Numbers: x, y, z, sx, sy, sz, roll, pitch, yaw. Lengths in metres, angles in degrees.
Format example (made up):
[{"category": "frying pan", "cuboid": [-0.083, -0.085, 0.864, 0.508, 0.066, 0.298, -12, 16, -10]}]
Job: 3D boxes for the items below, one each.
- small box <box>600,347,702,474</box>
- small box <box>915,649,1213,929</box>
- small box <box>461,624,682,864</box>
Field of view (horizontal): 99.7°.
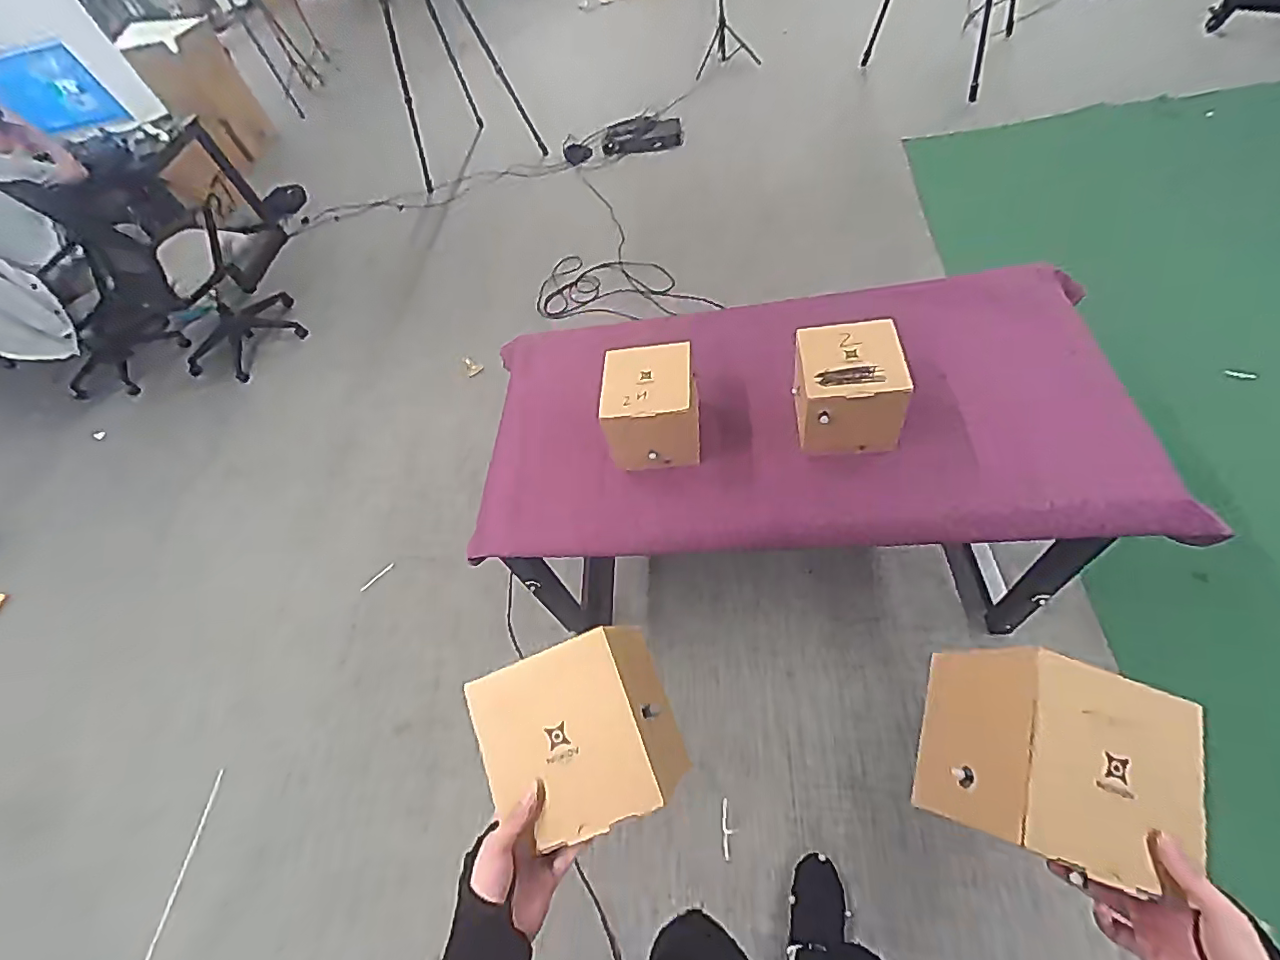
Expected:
[{"category": "small box", "cuboid": [0.029, -0.132, 1.048, 0.168, 0.176, 0.179, -3, 56, 11]}, {"category": "small box", "cuboid": [0.409, 0.289, 0.546, 0.168, 0.176, 0.179, 21, 69, 1]}, {"category": "small box", "cuboid": [-0.066, 0.272, 0.596, 0.168, 0.176, 0.179, -24, 71, 5]}]
